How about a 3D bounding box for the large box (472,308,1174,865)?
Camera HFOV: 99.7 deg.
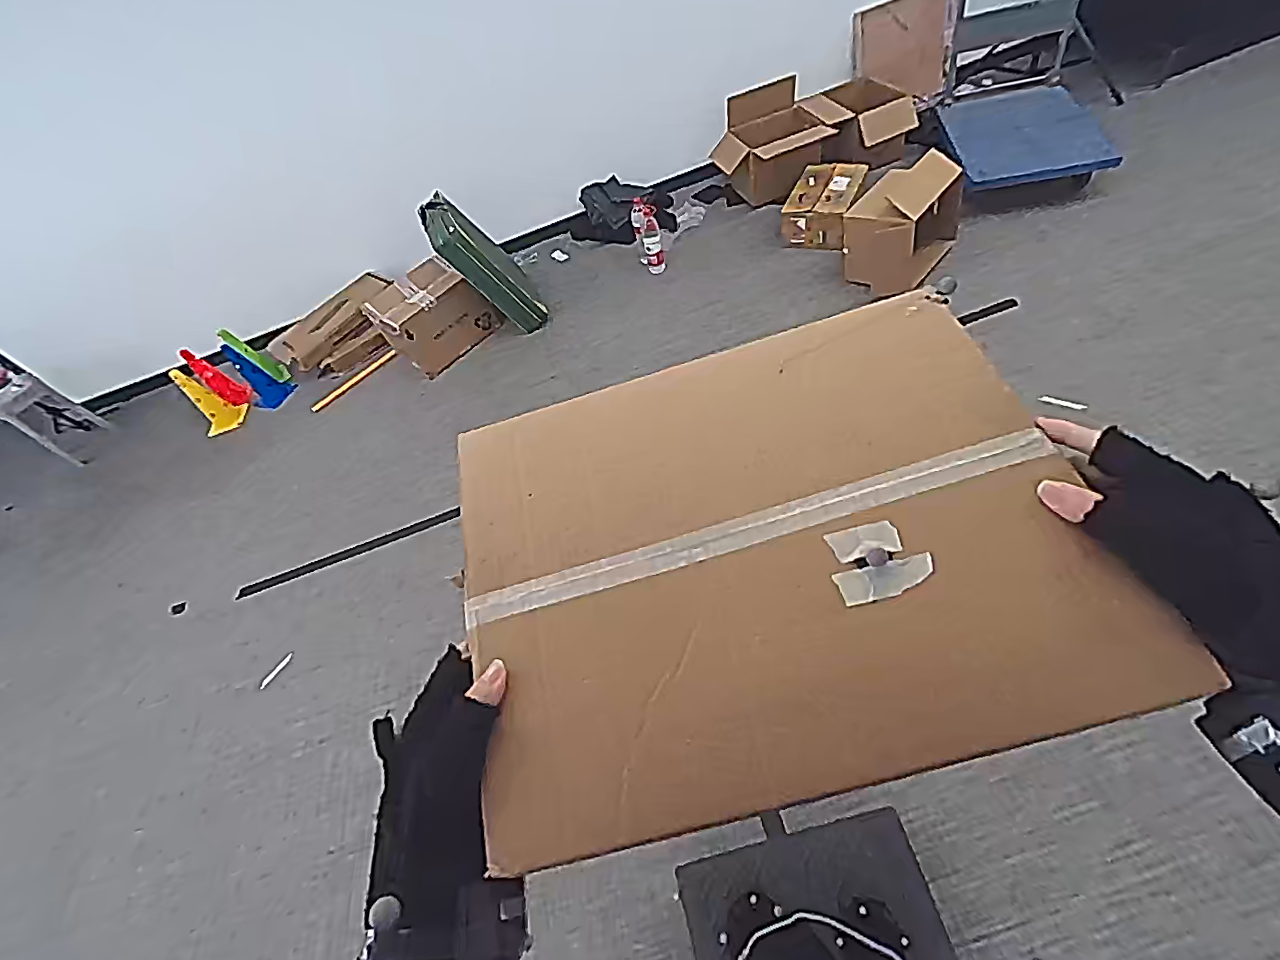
[{"bbox_3d":[0.104,0.112,0.511,0.408,0.320,0.320,-17,60,3],"label":"large box"}]
